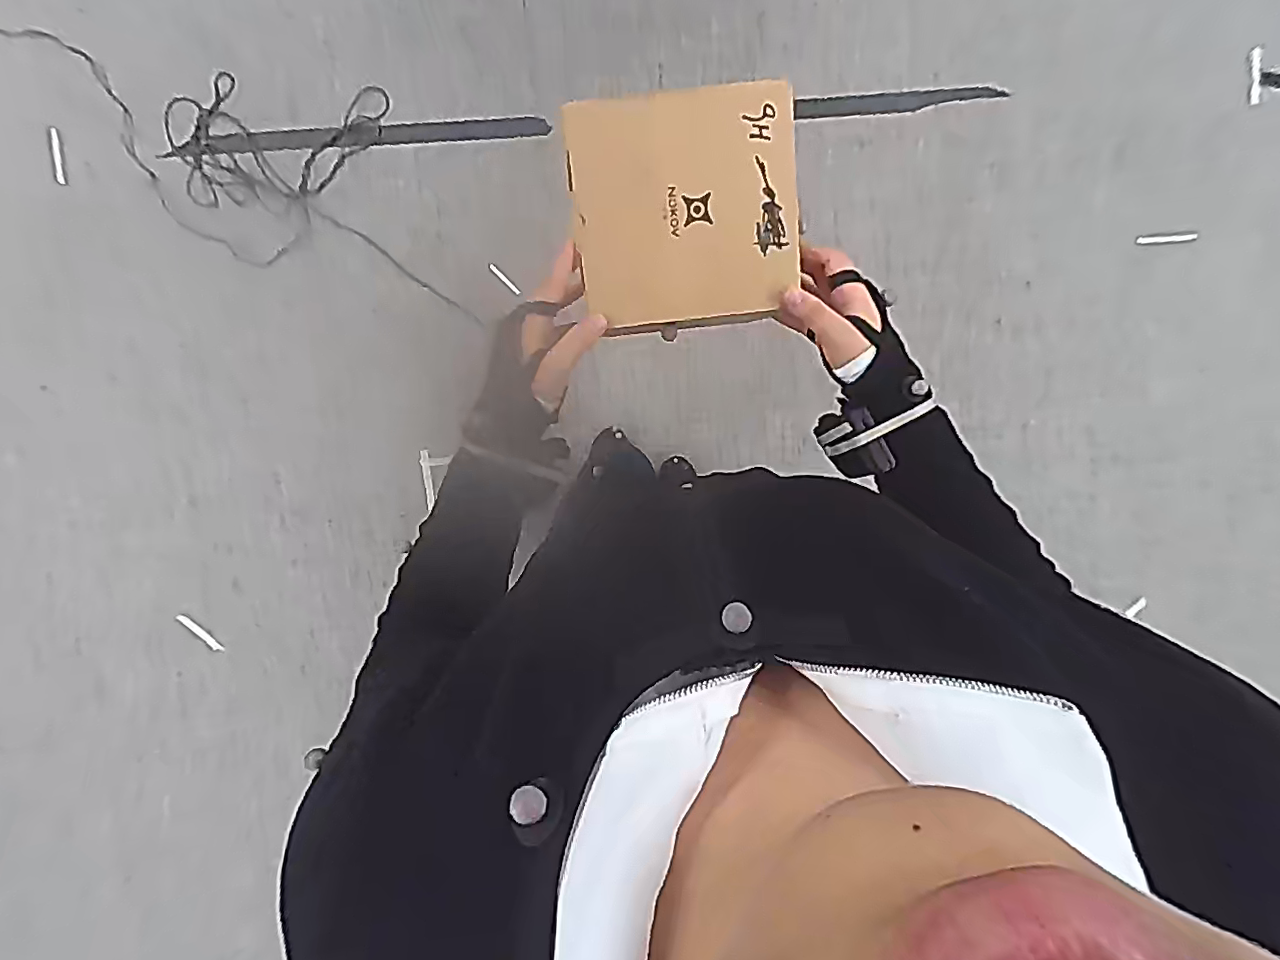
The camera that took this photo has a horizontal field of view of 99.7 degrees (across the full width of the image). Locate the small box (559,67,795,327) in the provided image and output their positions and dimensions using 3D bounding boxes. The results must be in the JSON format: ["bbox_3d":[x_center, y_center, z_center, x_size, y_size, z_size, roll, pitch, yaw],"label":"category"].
[{"bbox_3d":[0.031,-0.237,0.498,0.179,0.176,0.168,-6,102,0],"label":"small box"}]
